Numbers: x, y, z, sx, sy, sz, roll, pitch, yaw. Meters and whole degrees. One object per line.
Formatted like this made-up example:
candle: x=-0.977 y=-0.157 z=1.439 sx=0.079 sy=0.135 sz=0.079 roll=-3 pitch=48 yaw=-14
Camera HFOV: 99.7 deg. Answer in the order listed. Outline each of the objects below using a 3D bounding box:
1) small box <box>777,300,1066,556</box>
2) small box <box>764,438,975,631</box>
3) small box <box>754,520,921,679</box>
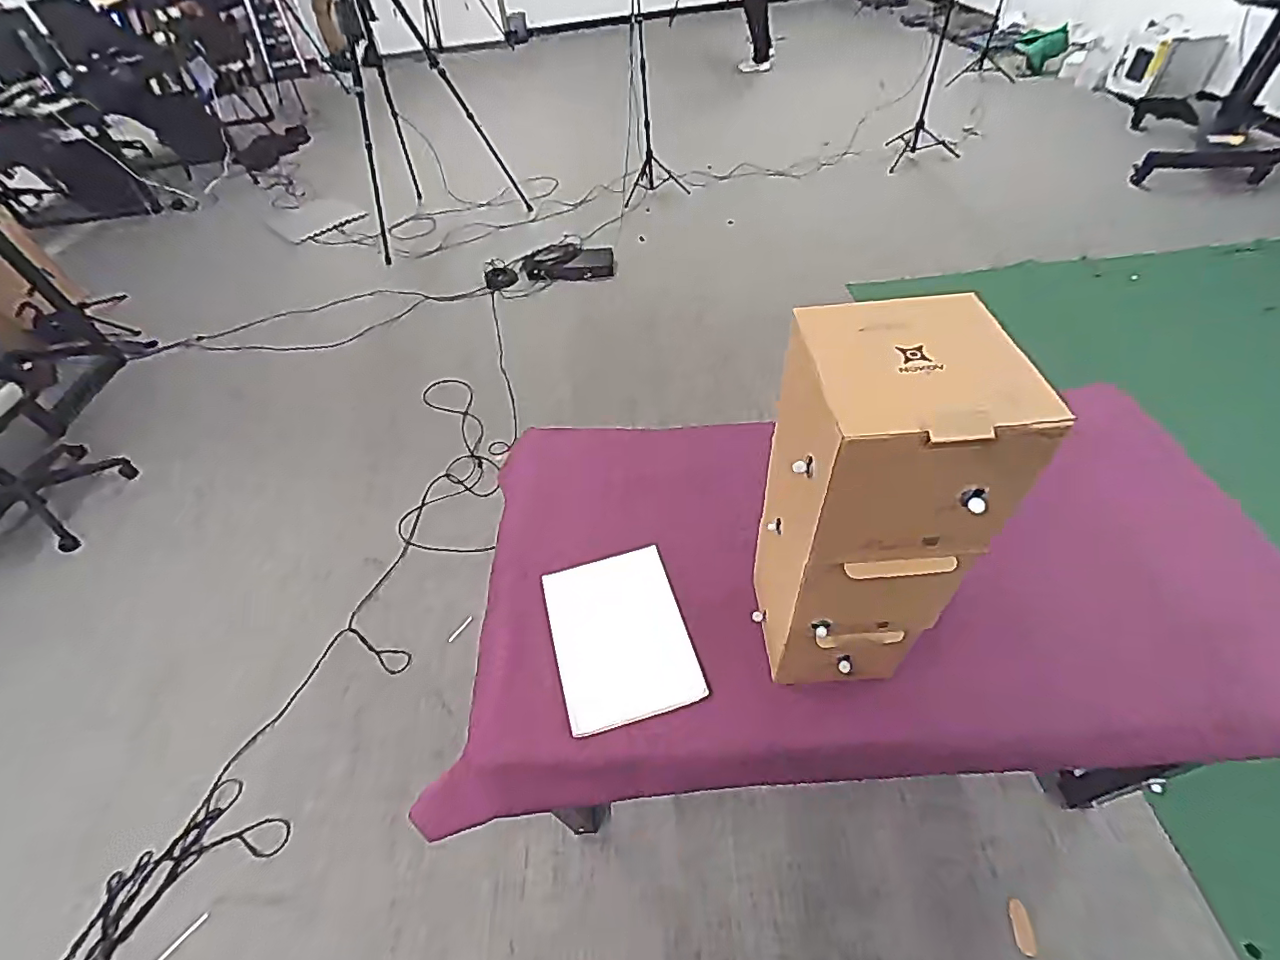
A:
small box: x=0.229 y=-0.041 z=0.501 sx=0.168 sy=0.176 sz=0.179 roll=-3 pitch=48 yaw=3
small box: x=0.243 y=0.063 z=0.626 sx=0.168 sy=0.176 sz=0.179 roll=-4 pitch=47 yaw=3
small box: x=0.258 y=0.167 z=0.754 sx=0.168 sy=0.176 sz=0.179 roll=-4 pitch=49 yaw=3
